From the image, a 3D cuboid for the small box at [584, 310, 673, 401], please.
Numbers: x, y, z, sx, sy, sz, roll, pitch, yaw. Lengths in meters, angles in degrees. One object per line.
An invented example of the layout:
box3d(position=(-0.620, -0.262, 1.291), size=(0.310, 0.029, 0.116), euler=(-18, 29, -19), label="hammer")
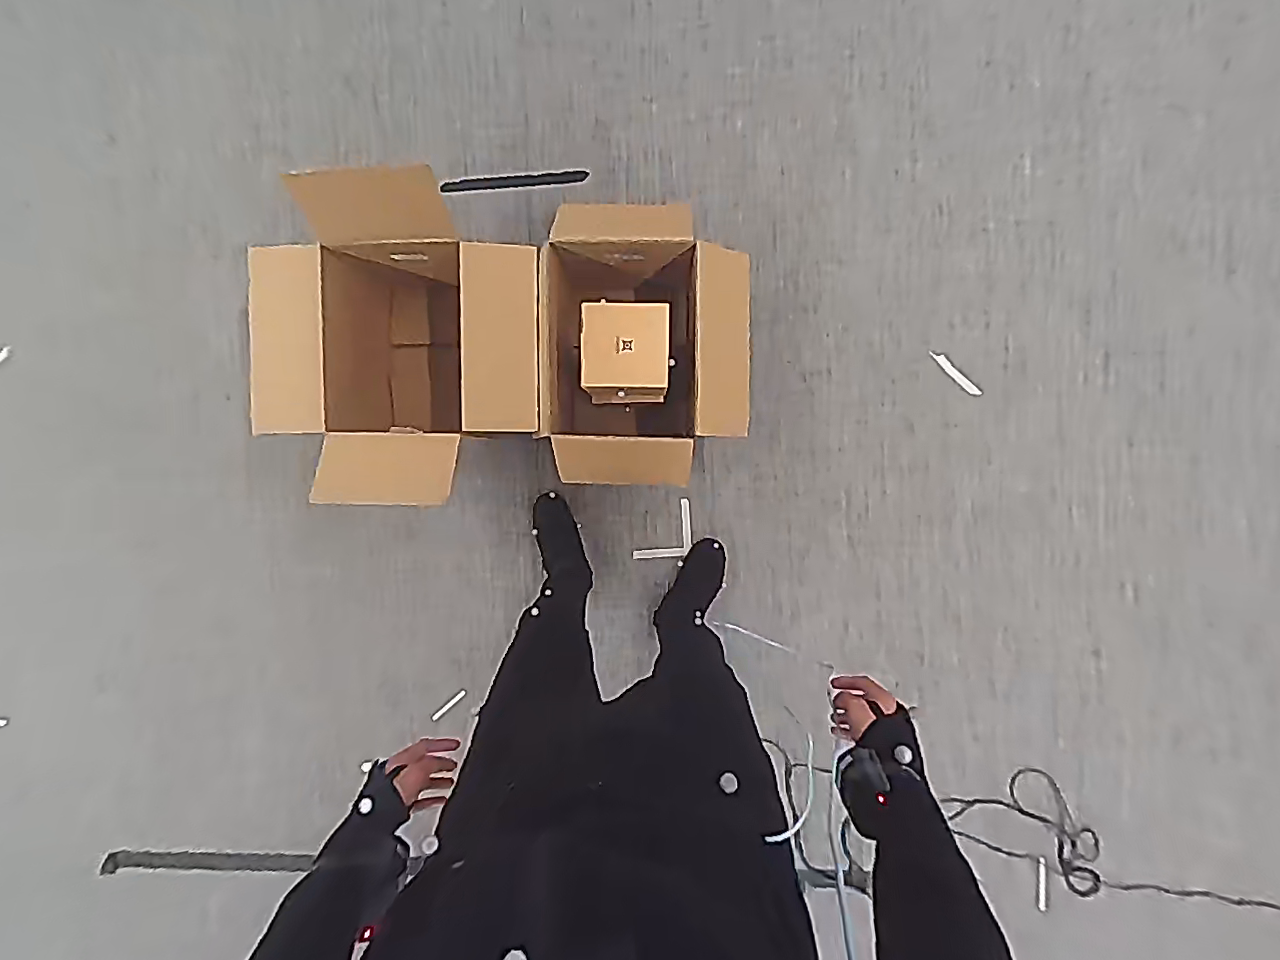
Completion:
box3d(position=(-0.021, -0.259, 1.148), size=(0.179, 0.176, 0.168), euler=(1, 94, 3), label="small box")
